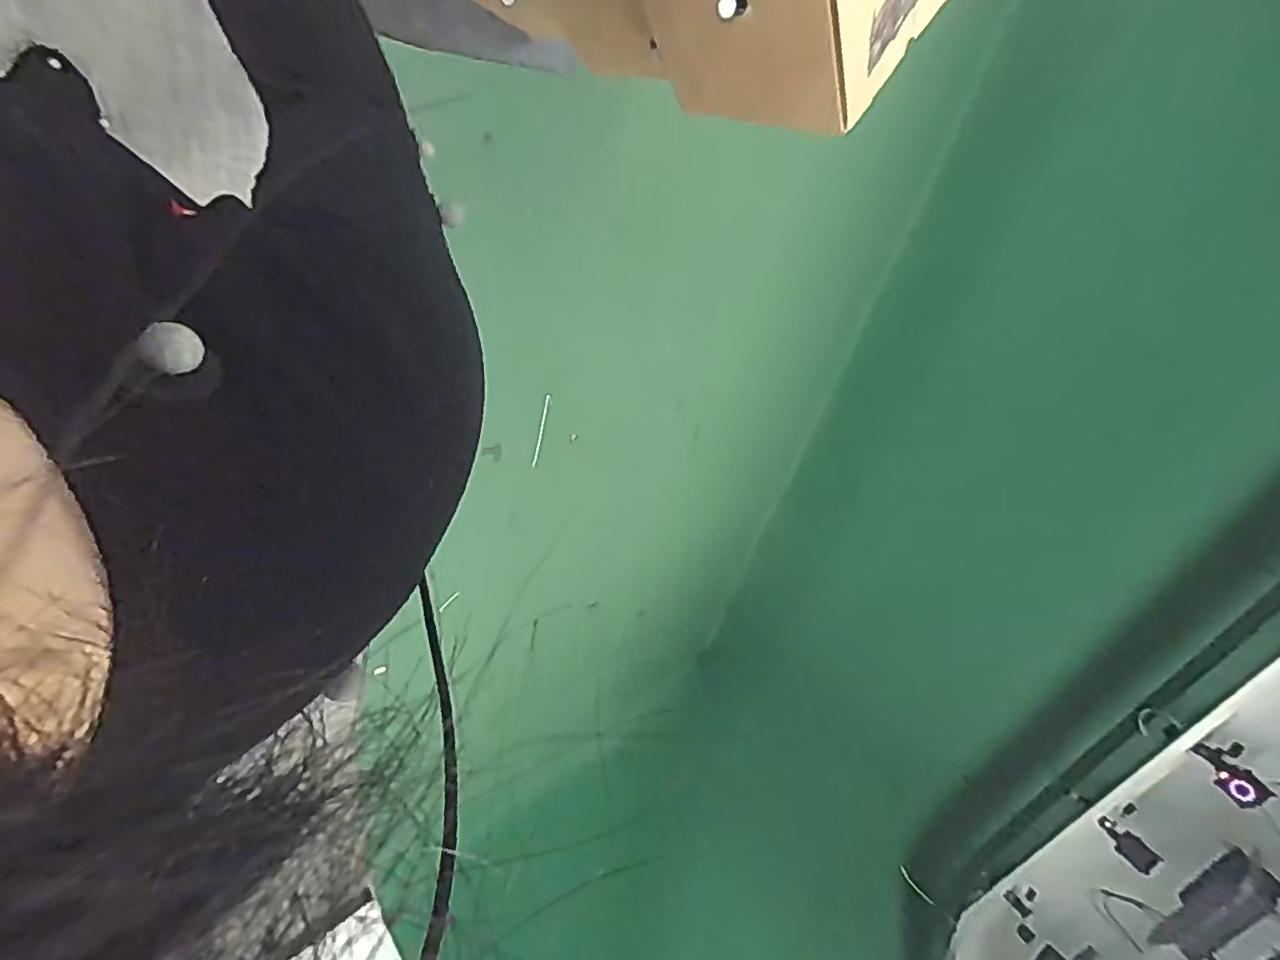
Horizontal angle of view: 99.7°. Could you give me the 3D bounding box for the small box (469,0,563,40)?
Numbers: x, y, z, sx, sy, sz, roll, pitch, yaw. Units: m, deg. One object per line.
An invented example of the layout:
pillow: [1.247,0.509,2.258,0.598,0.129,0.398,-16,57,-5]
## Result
small box: [-0.108,-0.571,0.539,0.179,0.176,0.168,-8,125,-47]
